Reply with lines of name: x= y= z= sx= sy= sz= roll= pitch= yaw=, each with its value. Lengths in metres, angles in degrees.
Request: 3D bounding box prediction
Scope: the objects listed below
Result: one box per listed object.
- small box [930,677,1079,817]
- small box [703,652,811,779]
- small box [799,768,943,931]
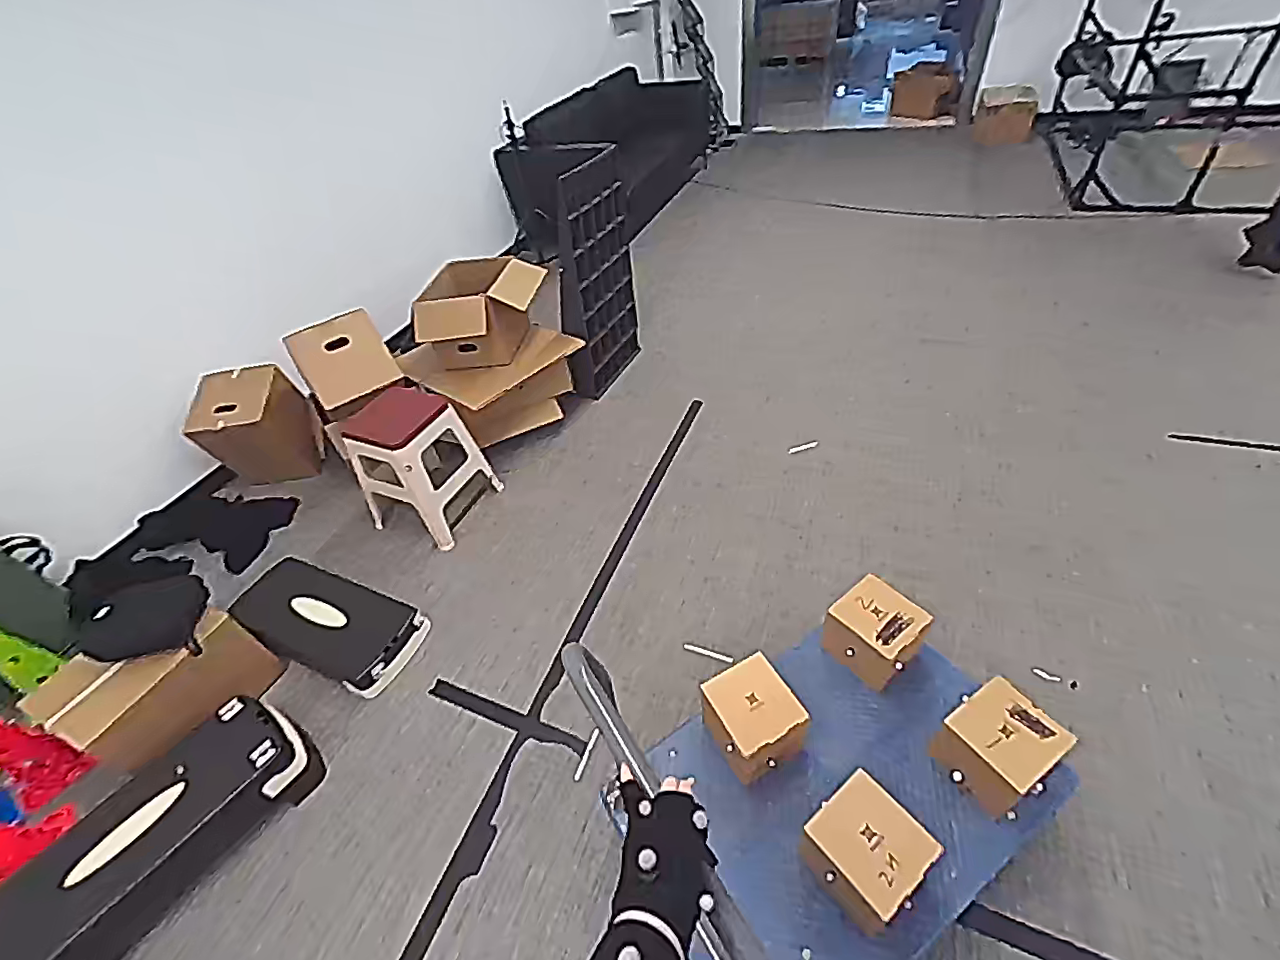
small box: x=0.736 y=0.550 z=1.115 sx=0.179 sy=0.176 sz=0.168 roll=-27 pitch=46 yaw=-18
small box: x=0.253 y=0.529 z=1.215 sx=0.168 sy=0.176 sz=0.179 roll=-23 pitch=47 yaw=-16
small box: x=0.420 y=0.693 z=1.014 sx=0.168 sy=0.176 sz=0.179 roll=-31 pitch=47 yaw=-22
